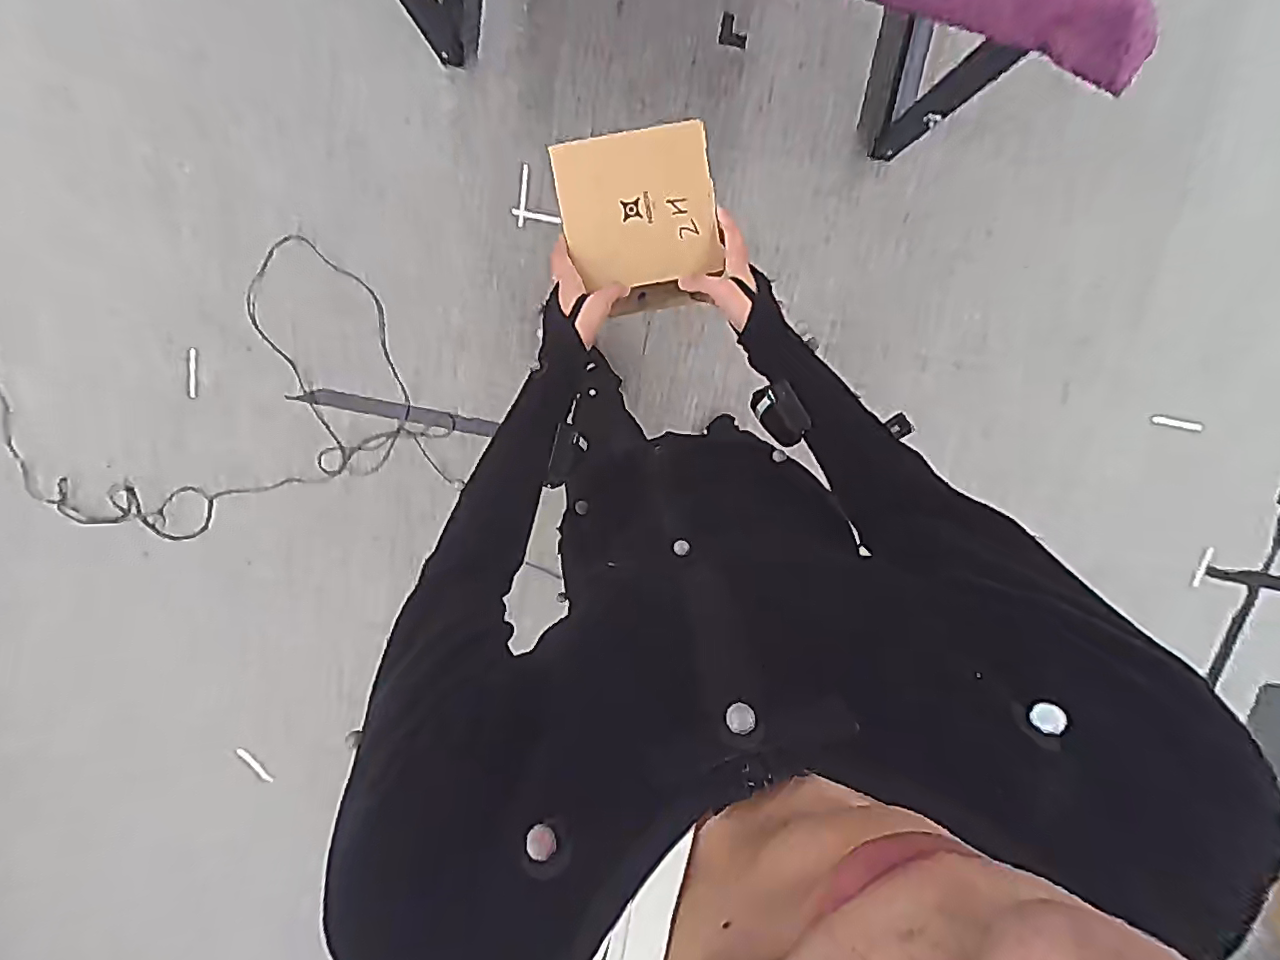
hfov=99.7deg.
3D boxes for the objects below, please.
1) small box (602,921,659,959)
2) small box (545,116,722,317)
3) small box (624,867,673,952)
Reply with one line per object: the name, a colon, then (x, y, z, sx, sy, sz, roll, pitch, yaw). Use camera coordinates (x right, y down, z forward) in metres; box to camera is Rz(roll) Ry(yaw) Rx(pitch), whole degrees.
small box: (-0.033, 1.592, 1.752, 0.168, 0.176, 0.179, 14, 103, -5)
small box: (-0.007, -0.310, 0.673, 0.179, 0.176, 0.168, -10, 97, -1)
small box: (0.028, 1.506, 1.900, 0.168, 0.176, 0.179, -1, 103, -1)
